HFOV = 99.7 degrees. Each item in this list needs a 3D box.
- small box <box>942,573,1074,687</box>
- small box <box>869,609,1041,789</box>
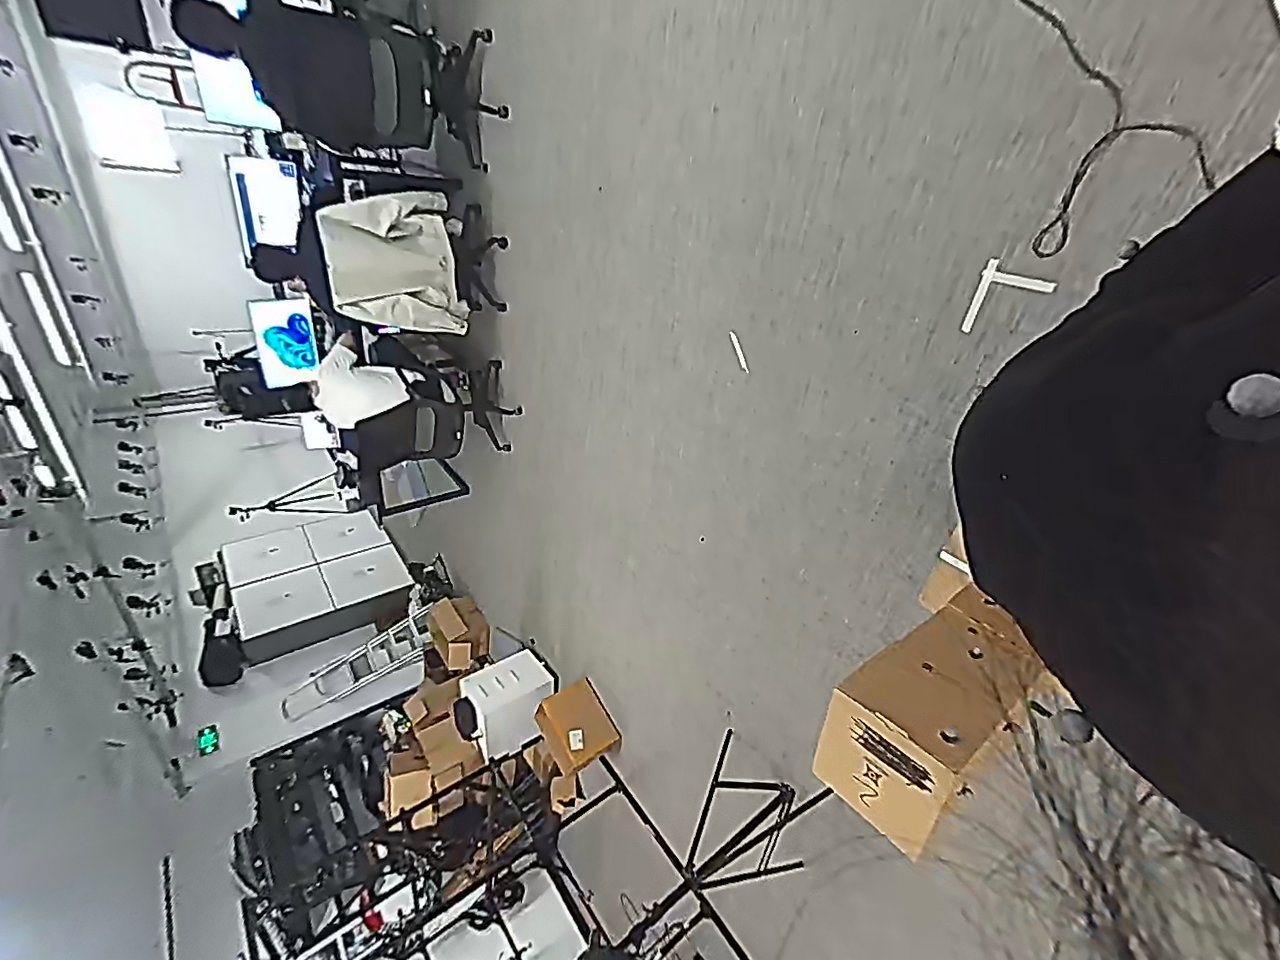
[{"bbox_3d":[0.633,0.295,0.969,0.168,0.176,0.179,36,131,42],"label":"small box"},{"bbox_3d":[0.507,0.338,0.872,0.168,0.176,0.179,32,127,44],"label":"small box"}]
